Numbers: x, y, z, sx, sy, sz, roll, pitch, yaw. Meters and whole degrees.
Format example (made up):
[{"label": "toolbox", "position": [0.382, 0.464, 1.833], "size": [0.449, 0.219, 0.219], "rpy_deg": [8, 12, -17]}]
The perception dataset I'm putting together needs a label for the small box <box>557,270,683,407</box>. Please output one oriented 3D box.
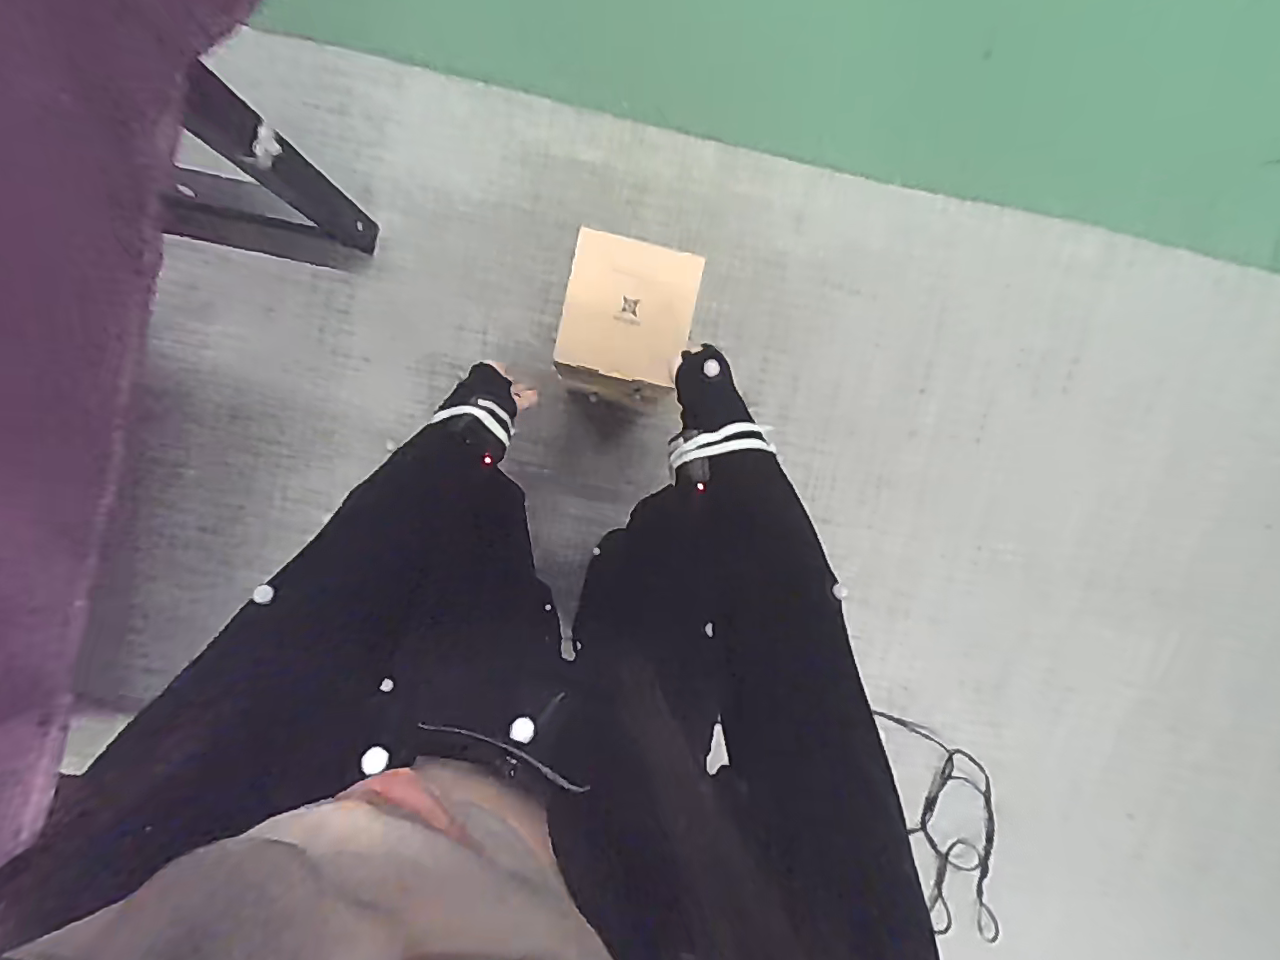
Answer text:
[{"label": "small box", "position": [-0.036, -0.231, 0.937], "size": [0.168, 0.176, 0.179], "rpy_deg": [16, 93, -5]}]
